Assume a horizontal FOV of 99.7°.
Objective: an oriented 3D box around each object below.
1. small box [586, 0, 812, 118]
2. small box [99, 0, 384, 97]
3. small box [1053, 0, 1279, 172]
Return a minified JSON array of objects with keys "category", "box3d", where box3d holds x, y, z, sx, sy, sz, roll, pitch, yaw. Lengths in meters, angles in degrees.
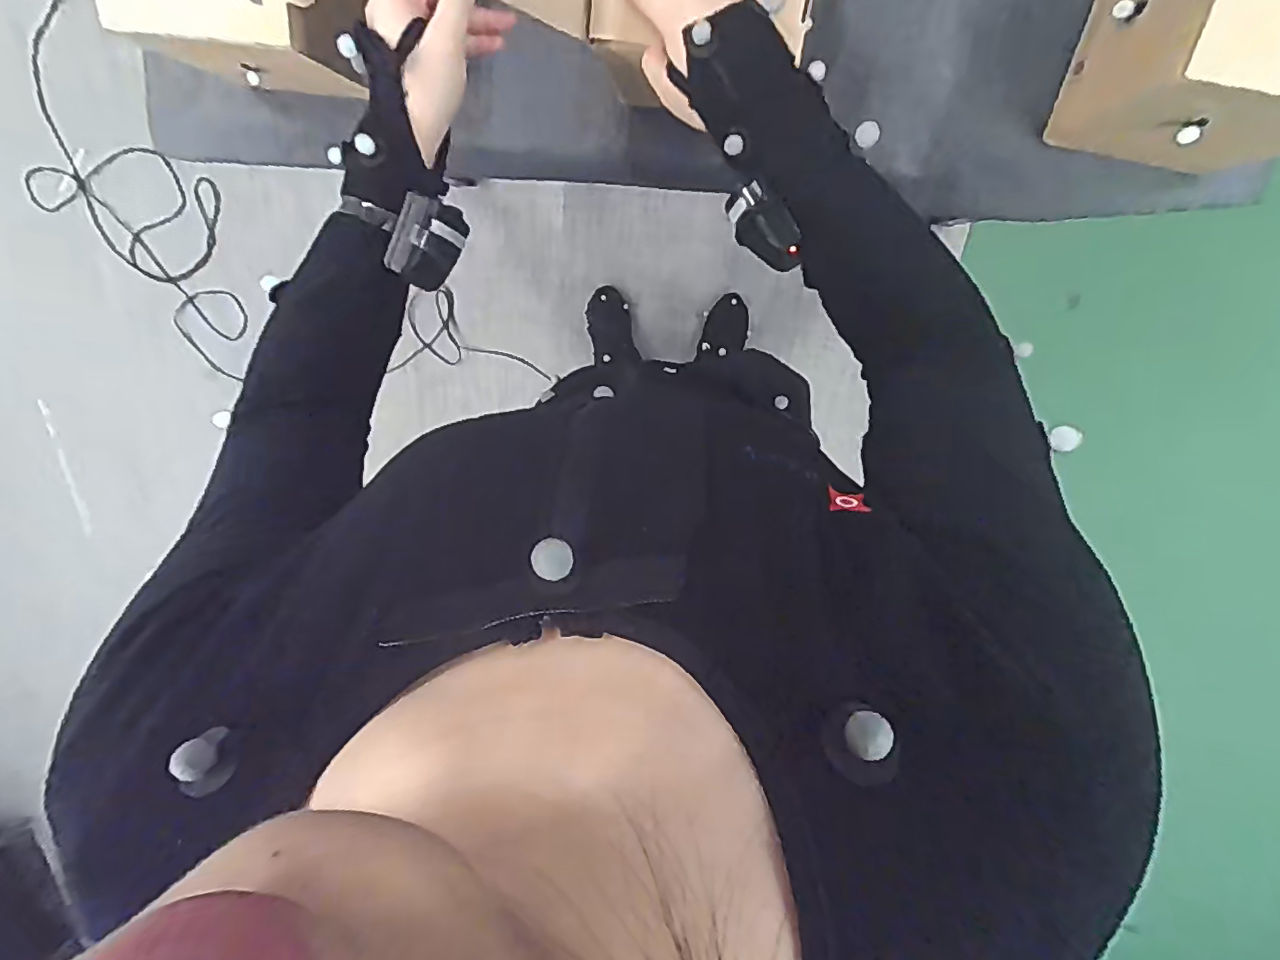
[{"category":"small box","box3d":[0.061,-0.443,0.480,0.179,0.176,0.168,9,113,3]},{"category":"small box","box3d":[-0.361,-0.481,0.507,0.179,0.176,0.168,8,113,3]},{"category":"small box","box3d":[0.508,-0.380,0.455,0.179,0.176,0.168,13,108,2]}]
